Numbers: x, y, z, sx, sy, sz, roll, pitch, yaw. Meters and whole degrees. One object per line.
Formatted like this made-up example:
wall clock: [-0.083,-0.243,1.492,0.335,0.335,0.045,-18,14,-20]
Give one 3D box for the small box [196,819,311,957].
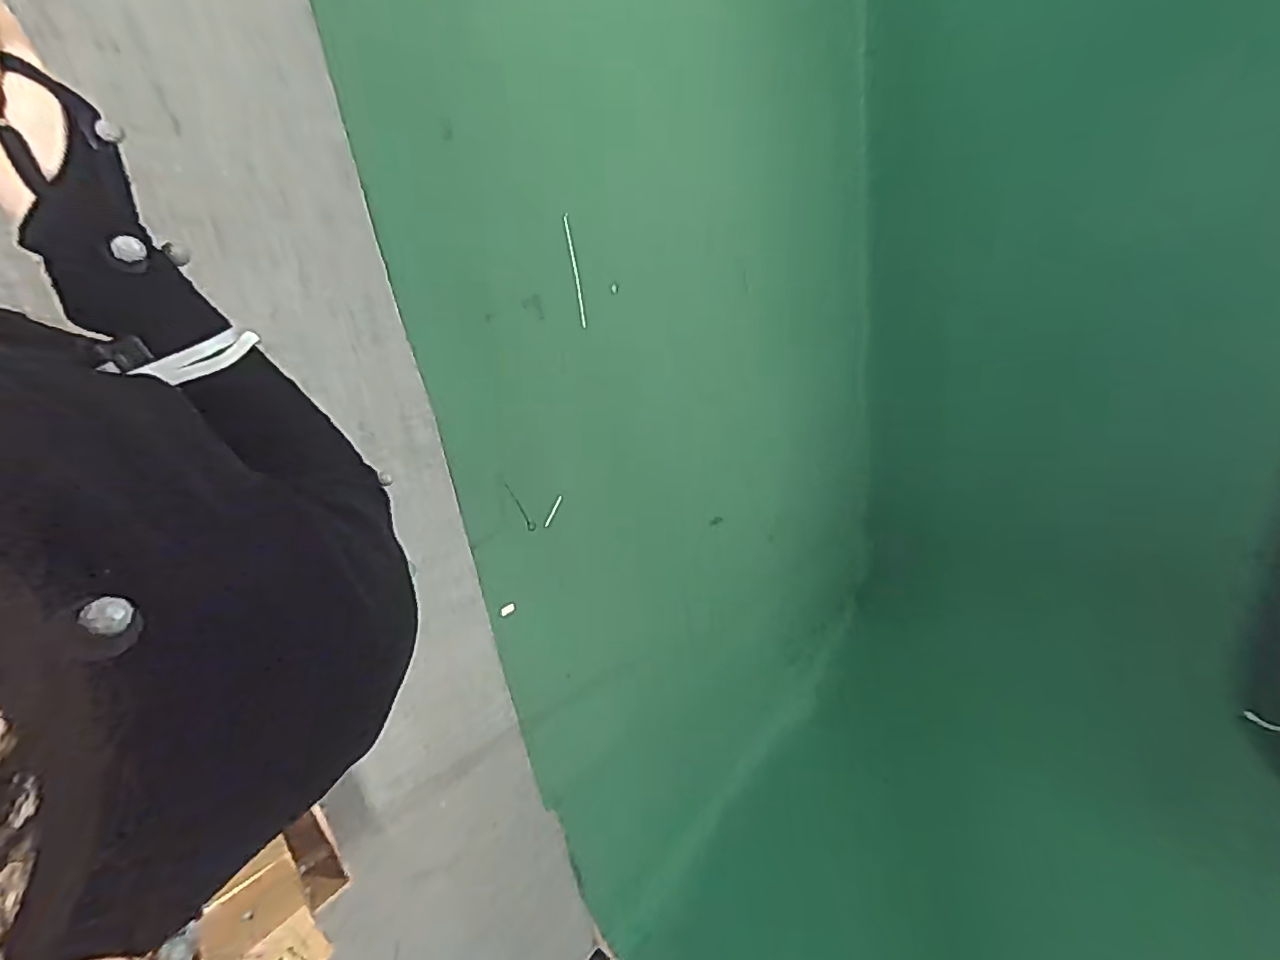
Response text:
small box: [-0.921,0.951,1.285,0.168,0.176,0.179,-23,114,-41]
